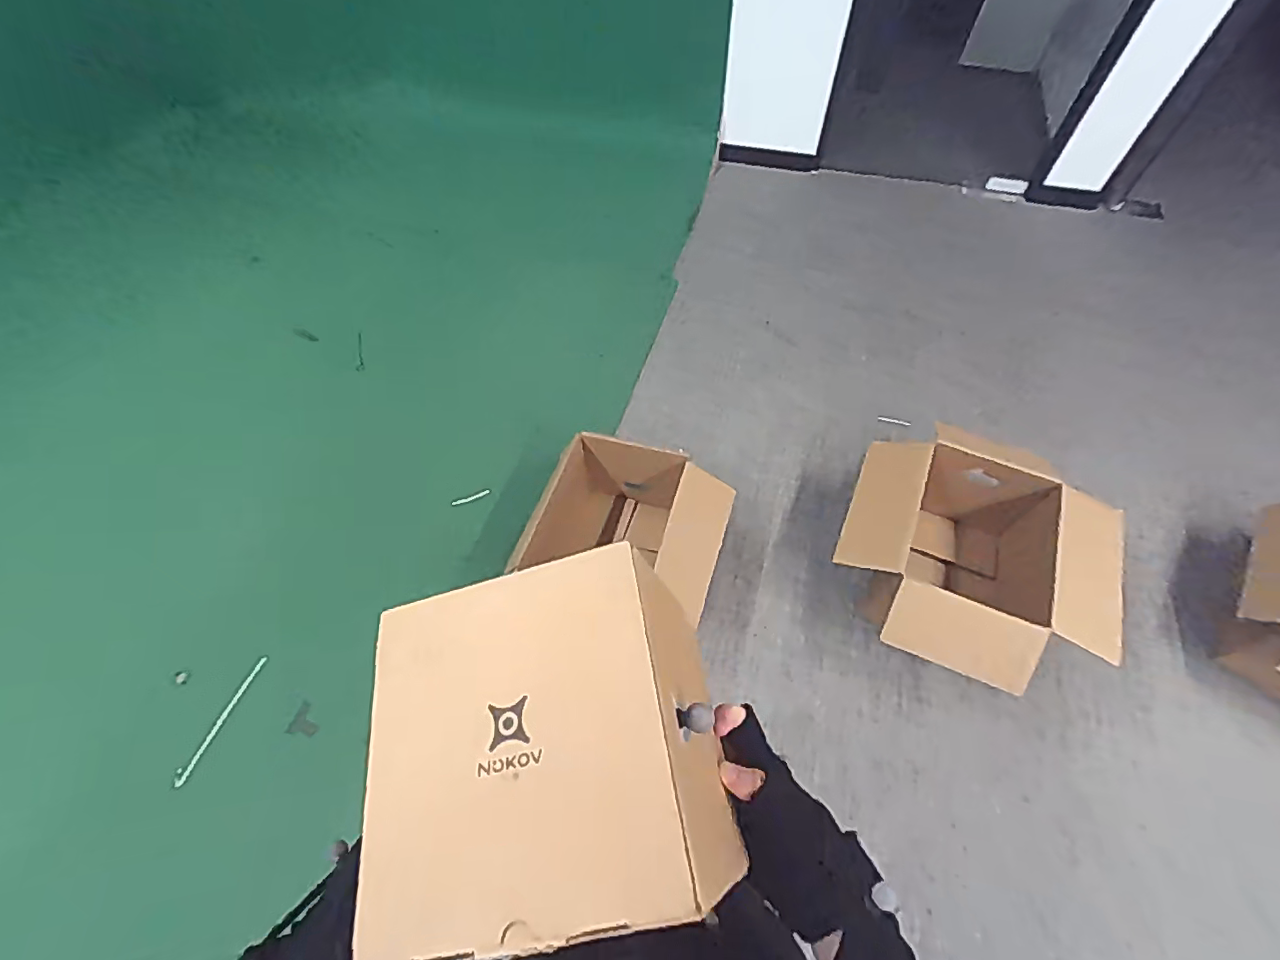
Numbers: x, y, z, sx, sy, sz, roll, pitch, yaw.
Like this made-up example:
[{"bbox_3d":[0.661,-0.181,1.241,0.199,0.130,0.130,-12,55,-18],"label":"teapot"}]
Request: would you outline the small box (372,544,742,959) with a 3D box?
[{"bbox_3d":[-0.041,0.168,0.352,0.168,0.176,0.179,-18,59,8],"label":"small box"}]
